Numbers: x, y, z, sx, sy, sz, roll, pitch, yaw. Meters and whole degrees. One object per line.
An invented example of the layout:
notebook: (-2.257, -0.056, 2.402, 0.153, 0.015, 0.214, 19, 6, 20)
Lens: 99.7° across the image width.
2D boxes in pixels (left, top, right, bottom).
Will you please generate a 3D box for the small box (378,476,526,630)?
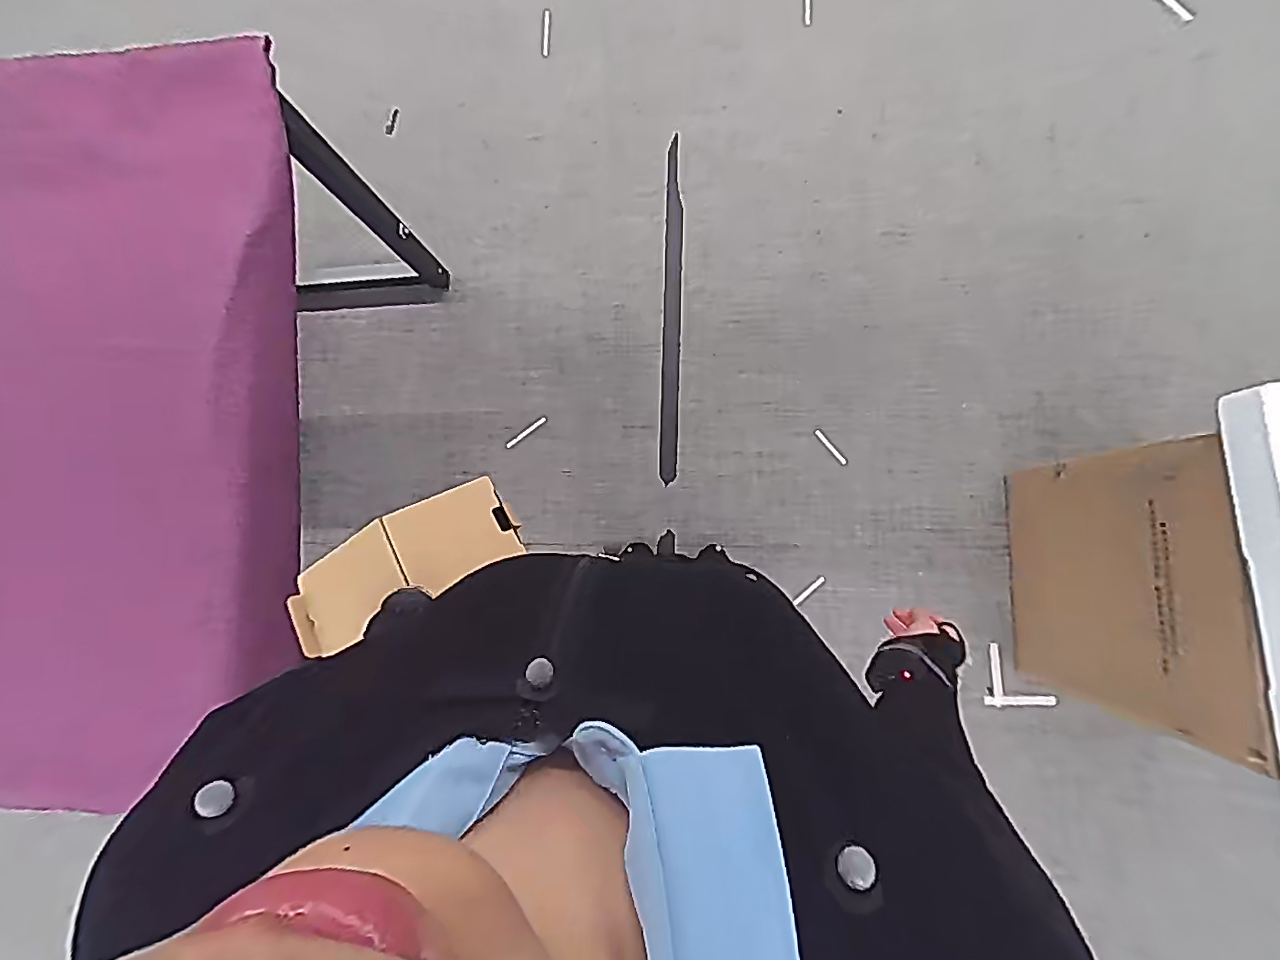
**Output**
small box: (-0.296, 0.126, 0.885, 0.179, 0.176, 0.168, -24, 72, -21)
